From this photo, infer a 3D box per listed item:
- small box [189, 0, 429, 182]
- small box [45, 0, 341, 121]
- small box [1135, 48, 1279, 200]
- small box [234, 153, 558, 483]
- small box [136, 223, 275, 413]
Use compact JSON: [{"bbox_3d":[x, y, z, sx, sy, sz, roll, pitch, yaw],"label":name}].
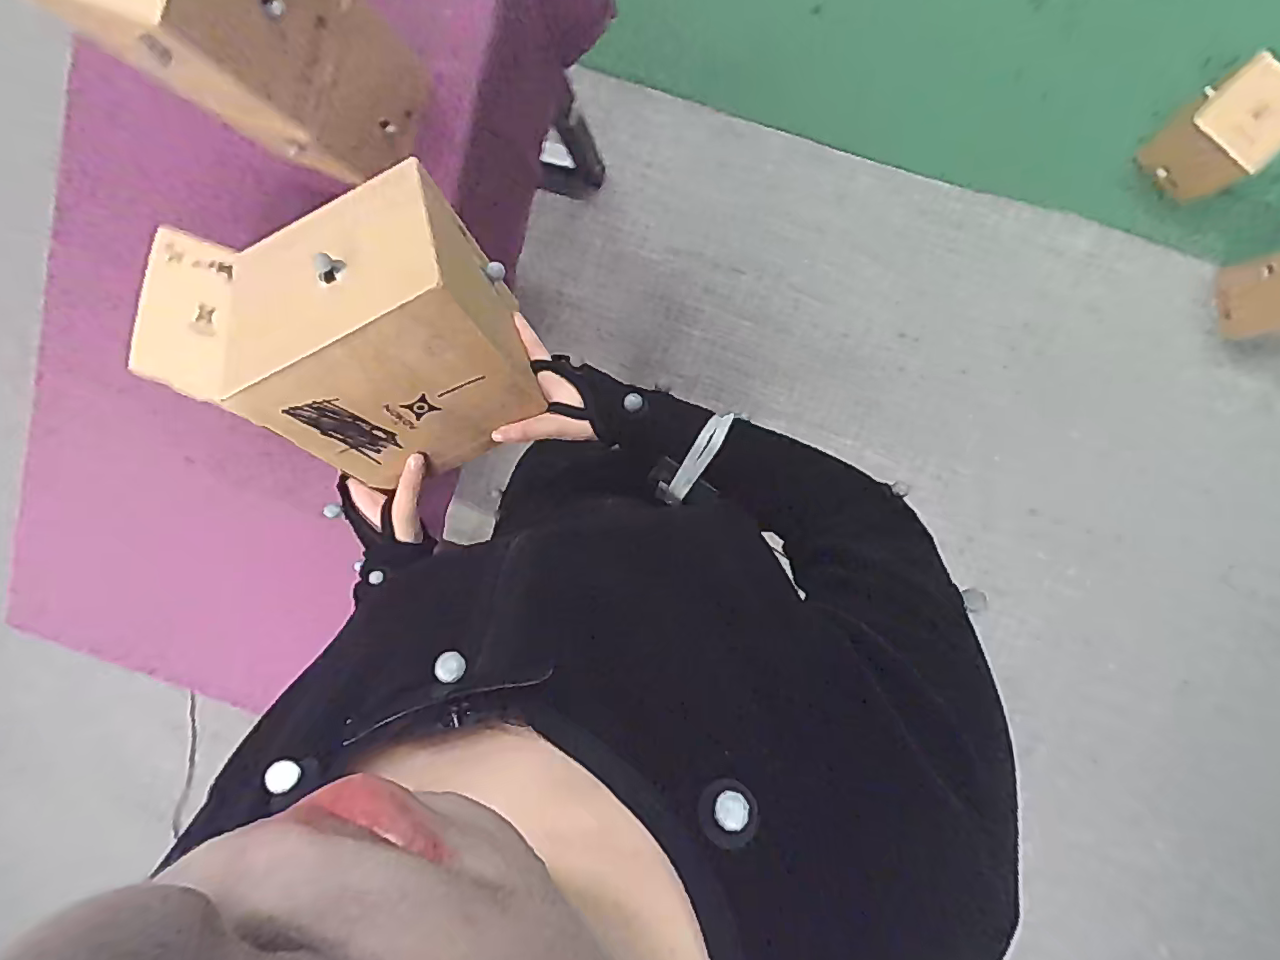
[{"bbox_3d":[-0.397,-0.491,0.662,0.179,0.176,0.168,22,99,3],"label":"small box"},{"bbox_3d":[-0.415,-0.473,0.499,0.179,0.176,0.168,21,98,4],"label":"small box"},{"bbox_3d":[1.254,-0.757,1.171,0.168,0.176,0.179,44,99,0],"label":"small box"},{"bbox_3d":[-0.195,-0.131,0.462,0.179,0.168,0.176,-24,60,5],"label":"small box"},{"bbox_3d":[-0.489,-0.197,0.706,0.168,0.176,0.179,21,100,4],"label":"small box"}]
